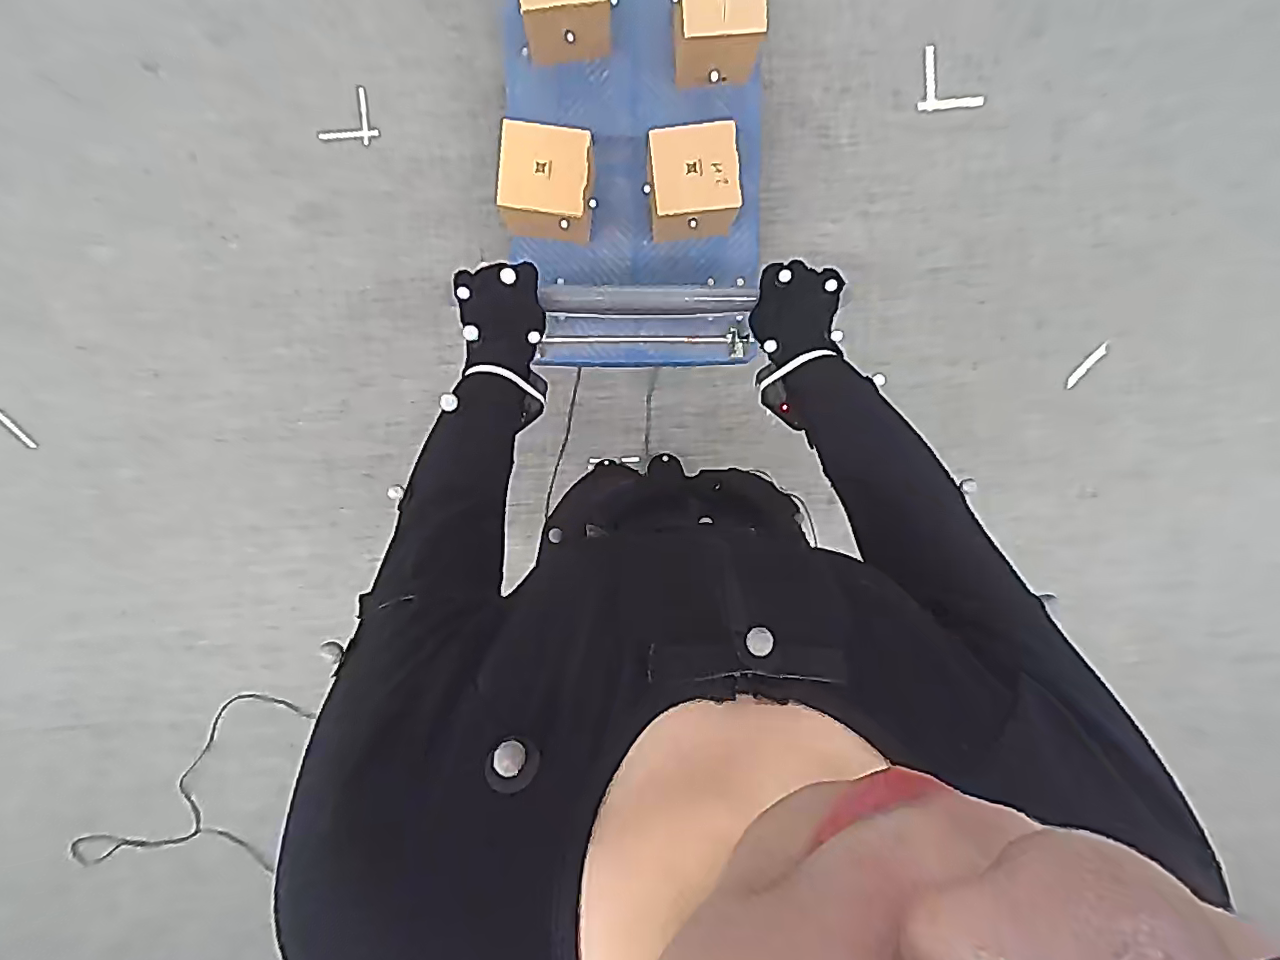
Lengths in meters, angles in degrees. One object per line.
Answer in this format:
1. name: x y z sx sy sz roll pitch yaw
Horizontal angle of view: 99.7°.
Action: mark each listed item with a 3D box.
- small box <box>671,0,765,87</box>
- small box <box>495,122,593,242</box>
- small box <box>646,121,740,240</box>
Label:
1. small box: 0.155 -0.961 1.119 0.168 0.176 0.179 -4 97 0
2. small box: -0.198 -0.625 1.153 0.179 0.176 0.168 5 96 -3
3. small box: 0.107 -0.629 1.157 0.179 0.176 0.168 -7 97 0
